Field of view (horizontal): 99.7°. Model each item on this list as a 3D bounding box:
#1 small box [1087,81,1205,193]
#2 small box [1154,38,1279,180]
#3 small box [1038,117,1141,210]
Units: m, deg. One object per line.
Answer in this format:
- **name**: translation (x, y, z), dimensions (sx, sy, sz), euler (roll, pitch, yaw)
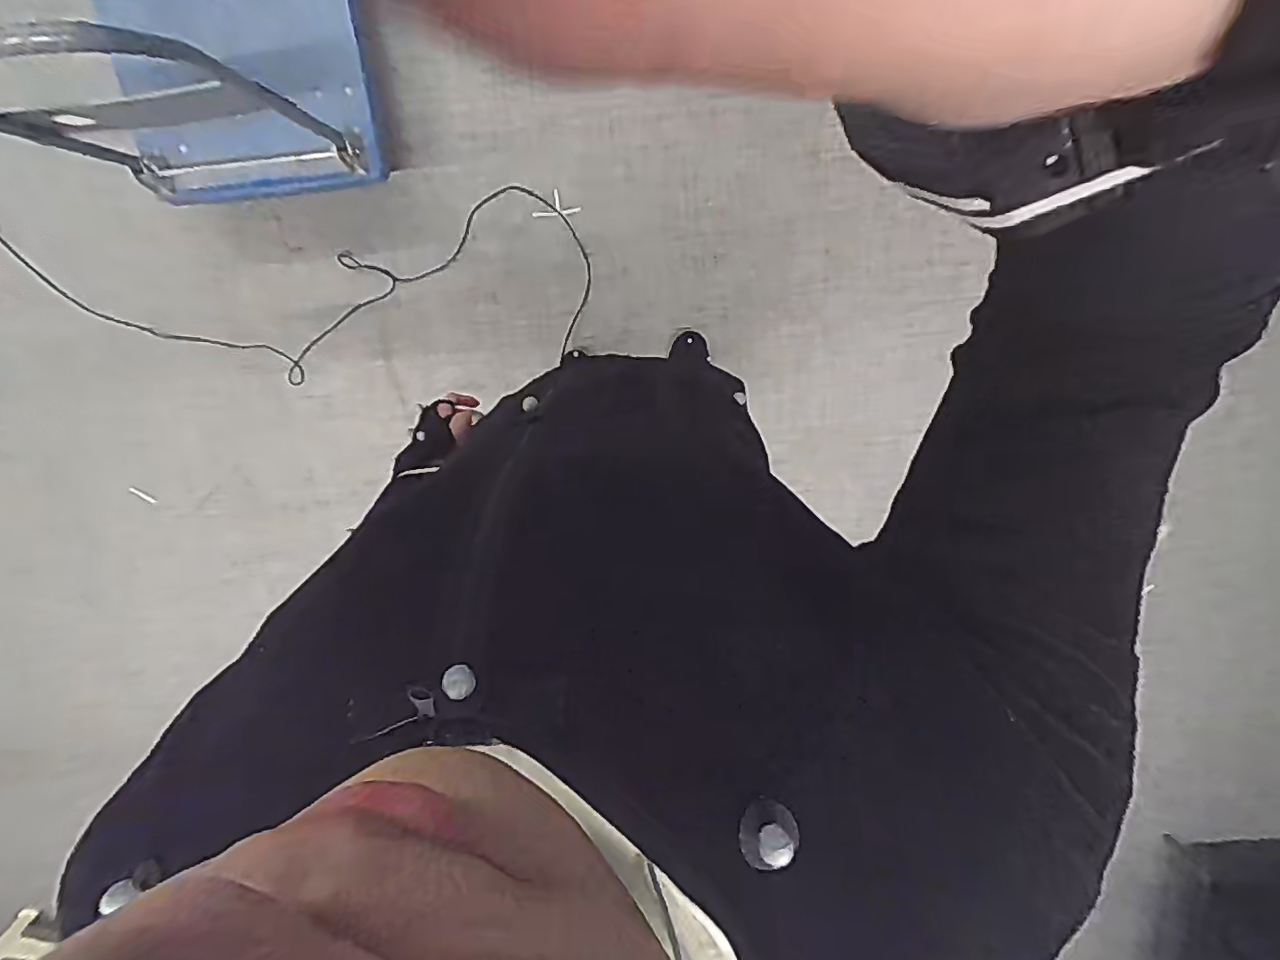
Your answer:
- **small box**: translation (1.152, -0.745, 1.190), dimensions (0.179, 0.176, 0.168), euler (2, 104, 0)
- **small box**: translation (1.151, -0.698, 1.034), dimensions (0.168, 0.176, 0.179), euler (2, 104, 0)
- **small box**: translation (1.143, -0.784, 1.350), dimensions (0.179, 0.176, 0.168), euler (-2, 105, 2)
